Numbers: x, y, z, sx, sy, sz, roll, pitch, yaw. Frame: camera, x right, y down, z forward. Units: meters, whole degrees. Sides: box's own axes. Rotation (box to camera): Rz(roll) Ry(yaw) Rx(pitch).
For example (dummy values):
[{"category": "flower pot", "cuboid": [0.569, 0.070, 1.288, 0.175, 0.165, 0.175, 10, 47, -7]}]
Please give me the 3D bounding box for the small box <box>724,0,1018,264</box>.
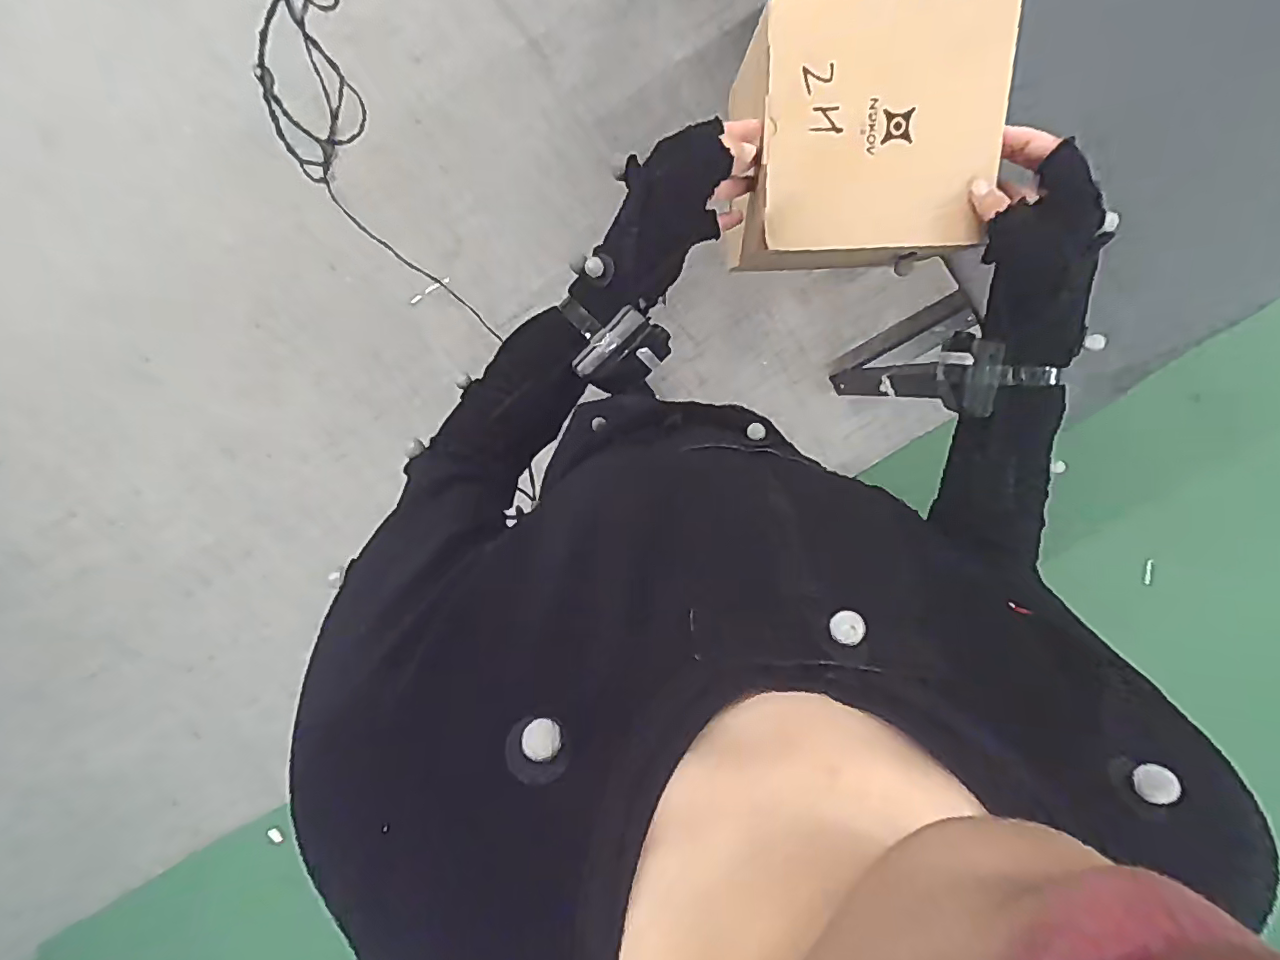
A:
[{"category": "small box", "cuboid": [0.174, -0.283, 0.465, 0.179, 0.176, 0.168, -2, 106, 1]}]
